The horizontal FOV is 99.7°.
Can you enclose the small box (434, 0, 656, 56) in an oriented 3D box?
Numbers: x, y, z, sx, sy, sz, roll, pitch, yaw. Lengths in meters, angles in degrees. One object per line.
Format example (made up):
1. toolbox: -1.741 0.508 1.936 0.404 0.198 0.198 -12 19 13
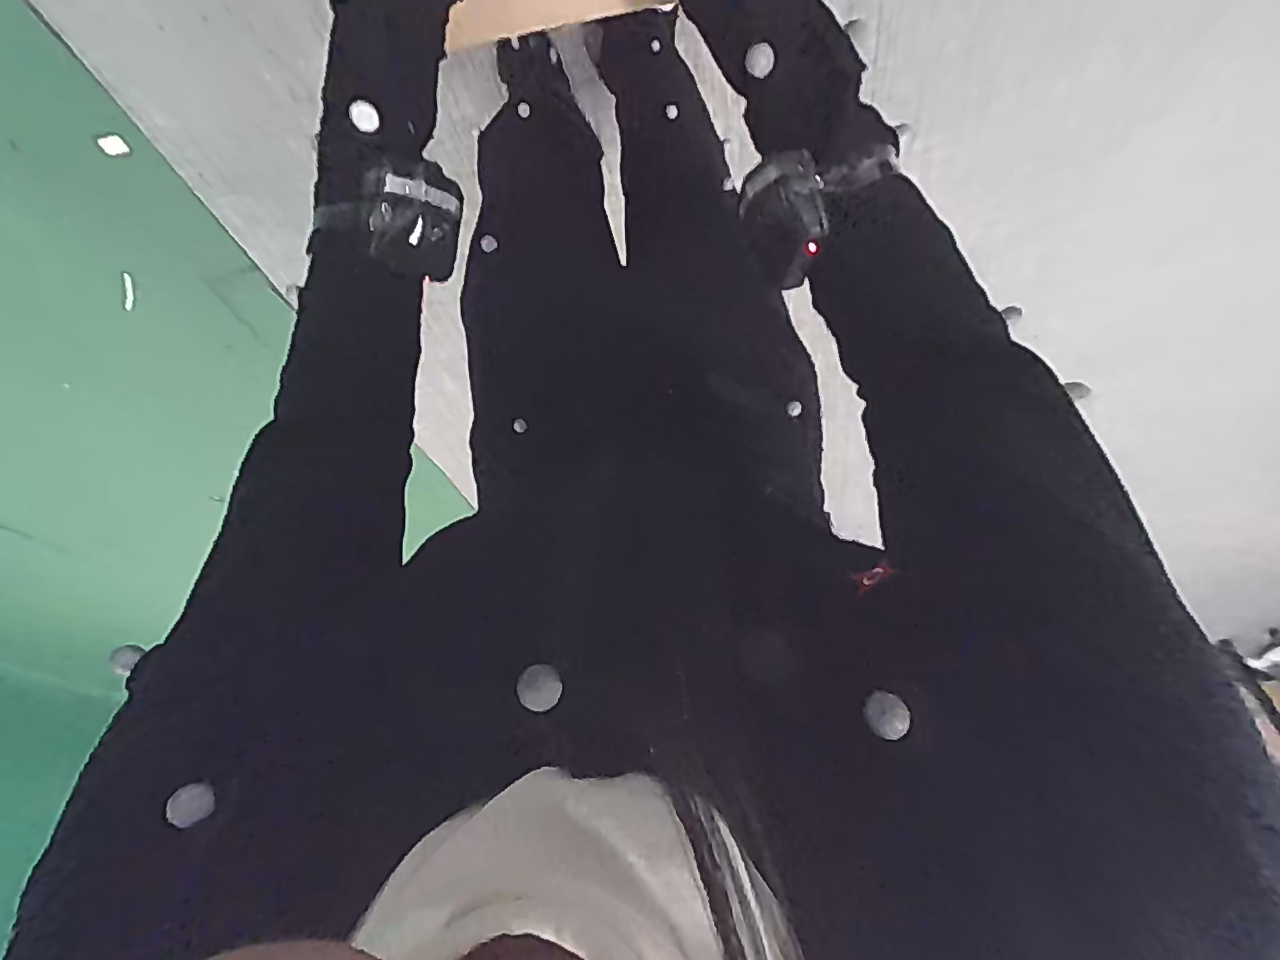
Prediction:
1. small box: -0.071 -0.429 0.359 0.179 0.176 0.168 -11 144 7
